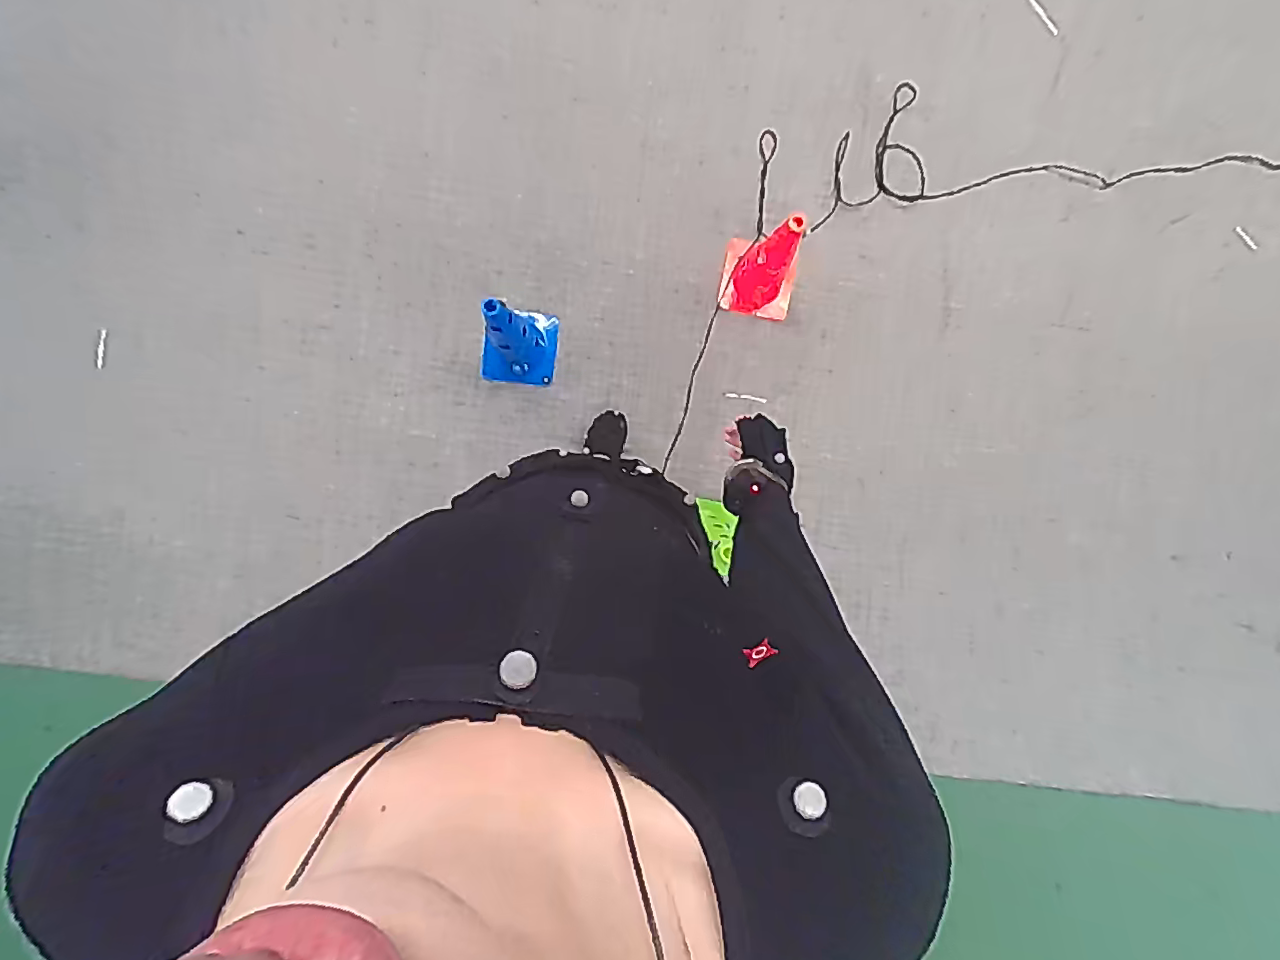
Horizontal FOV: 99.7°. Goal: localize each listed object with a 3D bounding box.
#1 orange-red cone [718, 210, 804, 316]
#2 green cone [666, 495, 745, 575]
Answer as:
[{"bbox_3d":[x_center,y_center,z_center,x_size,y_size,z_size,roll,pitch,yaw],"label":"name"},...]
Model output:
[{"bbox_3d":[0.334,-0.566,1.339,0.198,0.360,0.199,13,91,-1],"label":"orange-red cone"},{"bbox_3d":[0.191,0.152,1.336,0.200,0.368,0.202,10,89,-3],"label":"green cone"}]
